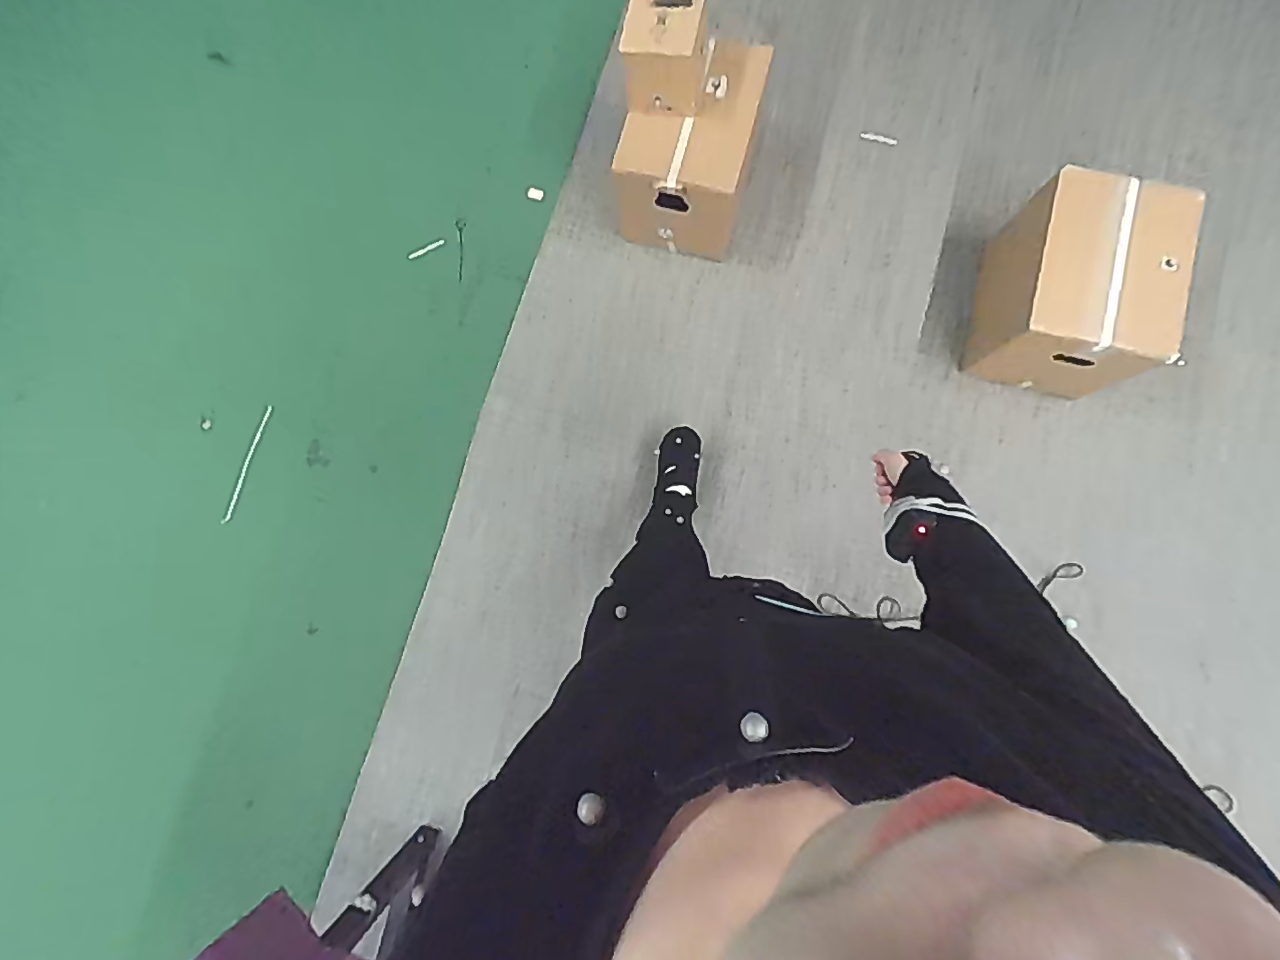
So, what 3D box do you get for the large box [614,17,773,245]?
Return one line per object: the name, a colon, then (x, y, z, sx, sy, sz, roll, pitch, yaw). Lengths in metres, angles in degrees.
large box: (0.147, -0.926, 1.474, 0.320, 0.320, 0.408, 15, 84, 7)
